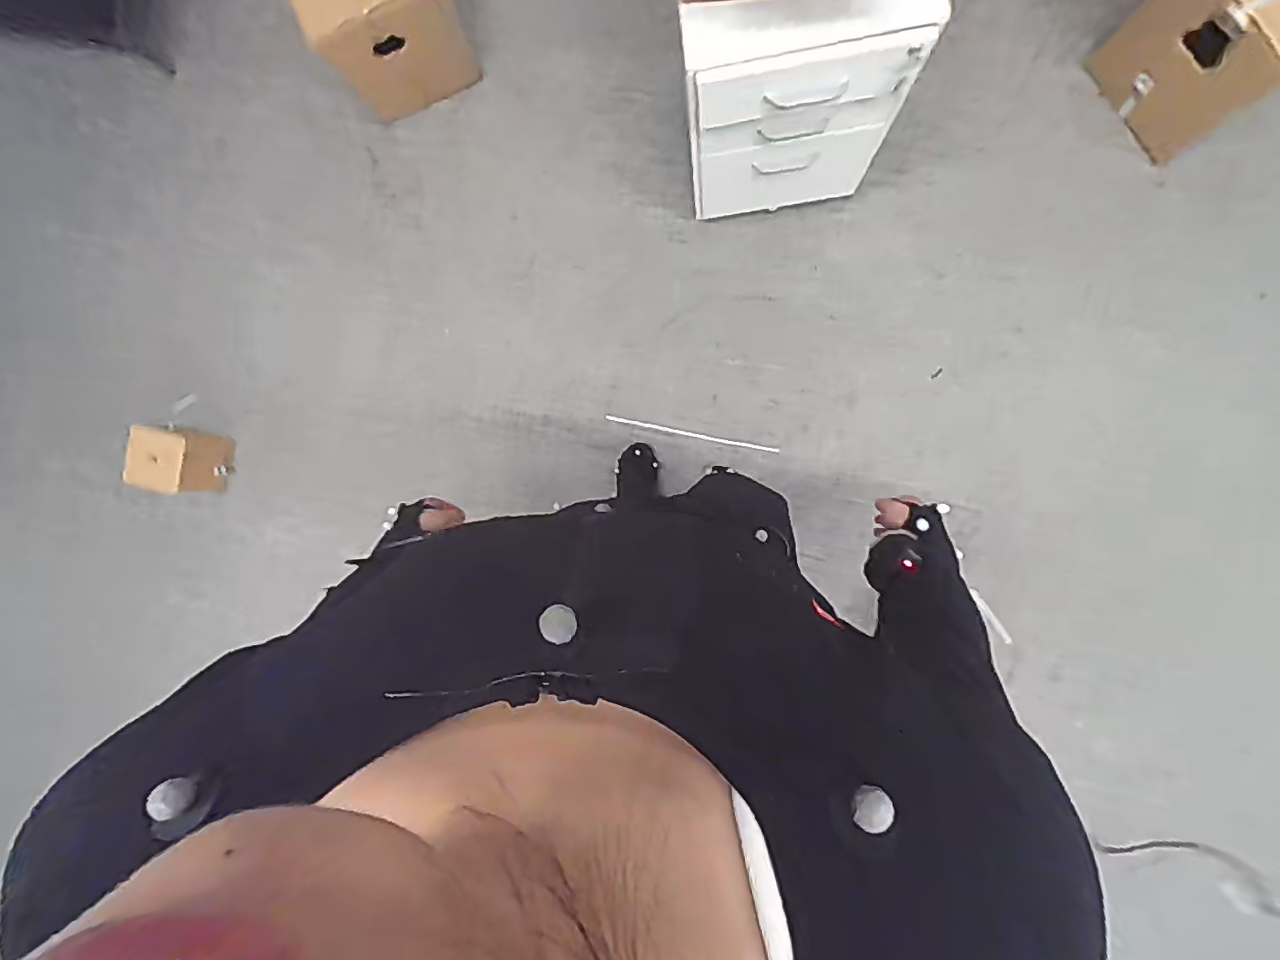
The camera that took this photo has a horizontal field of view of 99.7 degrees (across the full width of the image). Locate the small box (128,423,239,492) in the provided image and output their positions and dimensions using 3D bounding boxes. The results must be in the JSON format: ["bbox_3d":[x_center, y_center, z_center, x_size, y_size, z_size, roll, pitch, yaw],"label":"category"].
[{"bbox_3d":[-1.340,-0.067,1.594,0.179,0.176,0.168,13,95,6],"label":"small box"}]

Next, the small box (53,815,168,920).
[{"bbox_3d":[-1.621,1.183,1.666,0.179,0.176,0.168,25,95,6],"label":"small box"}]
